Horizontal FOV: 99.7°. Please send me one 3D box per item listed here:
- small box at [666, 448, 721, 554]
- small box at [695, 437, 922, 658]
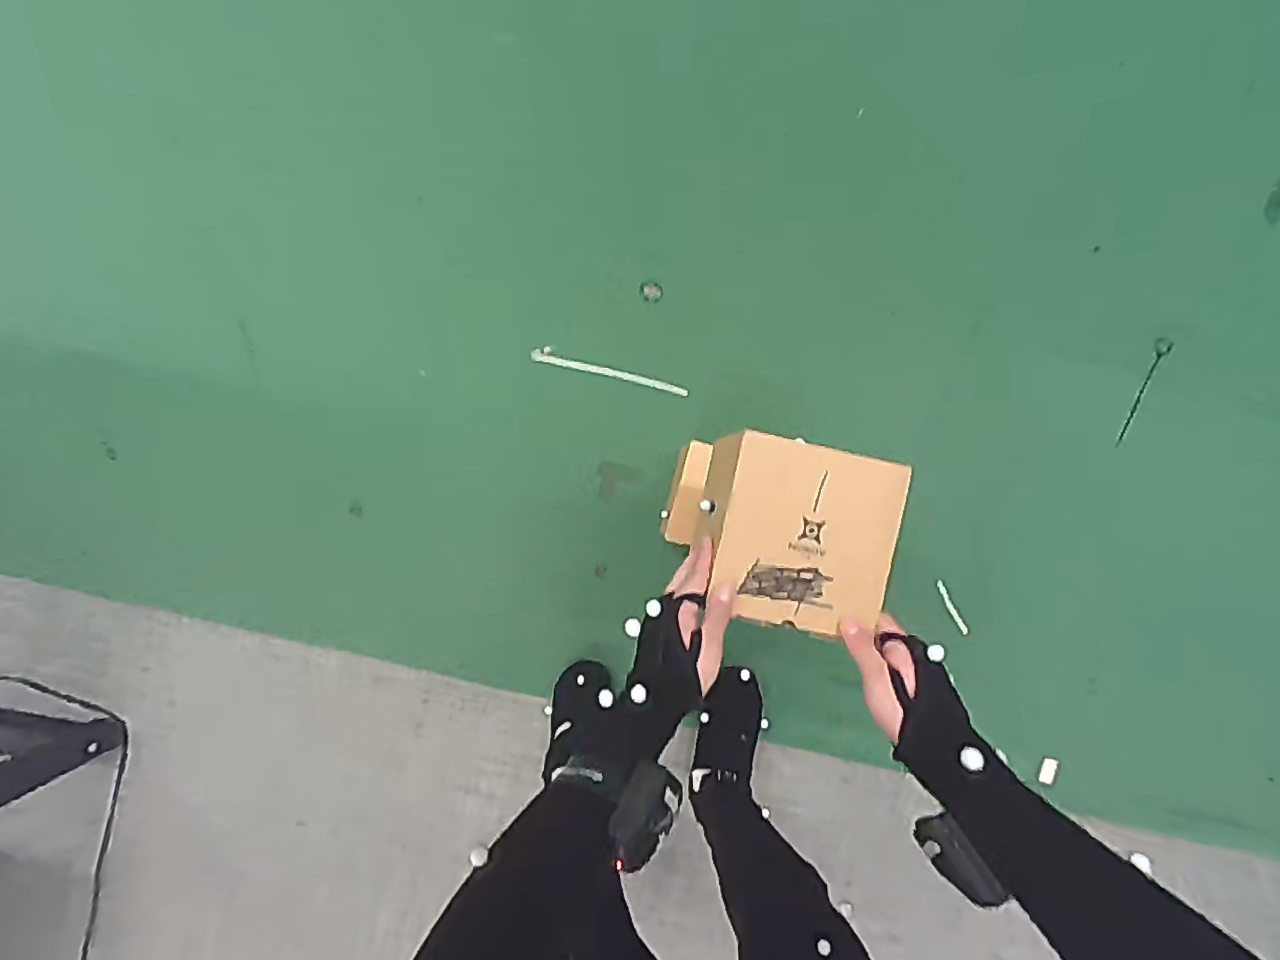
[{"bbox_3d":[0.146,0.051,0.987,0.168,0.176,0.179,14,90,-1],"label":"small box"},{"bbox_3d":[0.160,0.063,0.575,0.168,0.176,0.179,13,89,-2],"label":"small box"}]
